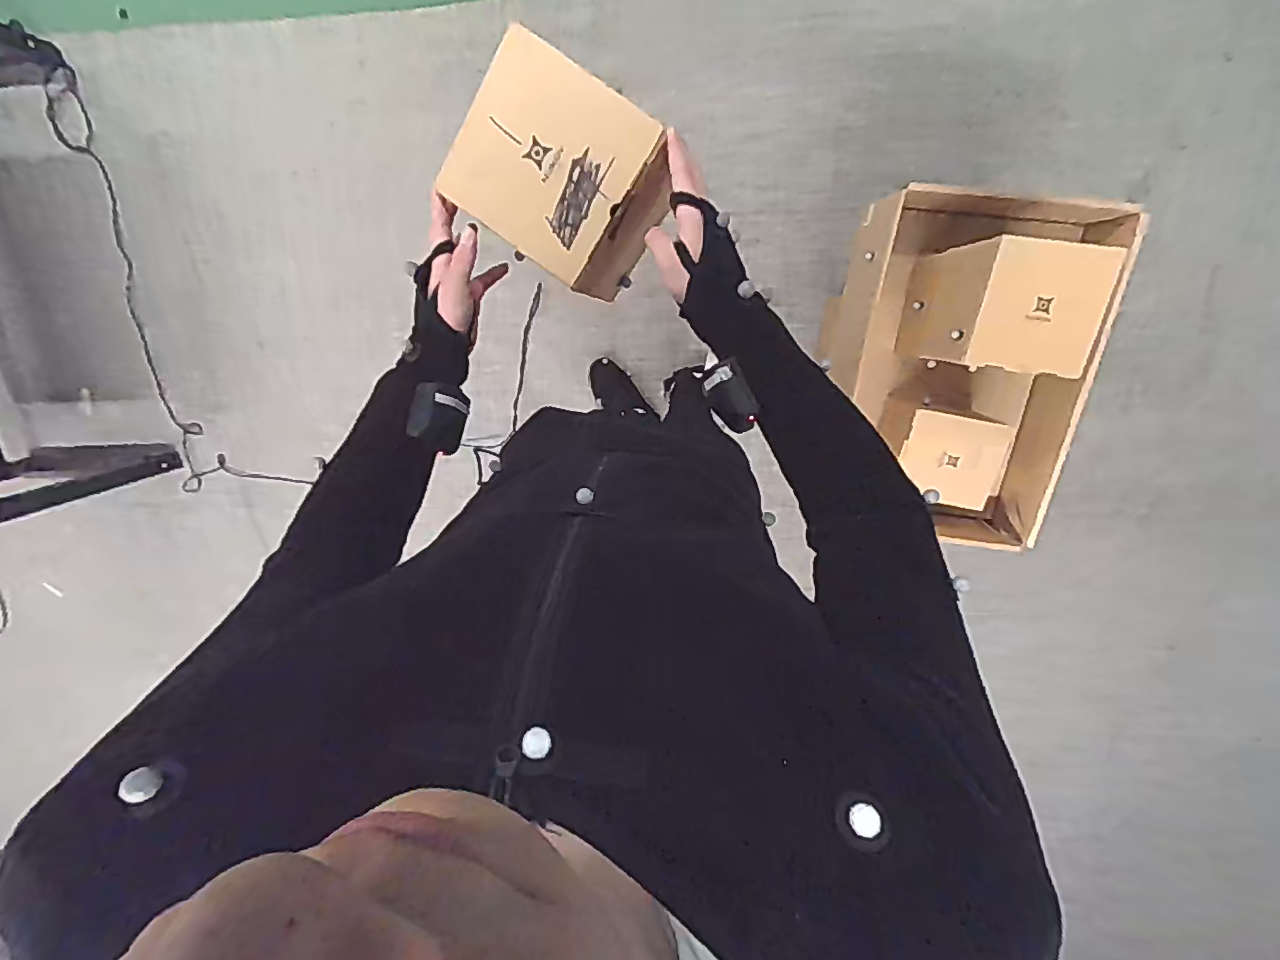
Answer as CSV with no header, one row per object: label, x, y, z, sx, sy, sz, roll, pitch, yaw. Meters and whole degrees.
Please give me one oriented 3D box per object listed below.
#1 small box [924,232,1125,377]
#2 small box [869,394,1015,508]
small box,0.561,-0.265,0.822,0.168,0.176,0.179,9,110,4
small box,0.572,-0.065,1.056,0.179,0.176,0.168,12,110,3
